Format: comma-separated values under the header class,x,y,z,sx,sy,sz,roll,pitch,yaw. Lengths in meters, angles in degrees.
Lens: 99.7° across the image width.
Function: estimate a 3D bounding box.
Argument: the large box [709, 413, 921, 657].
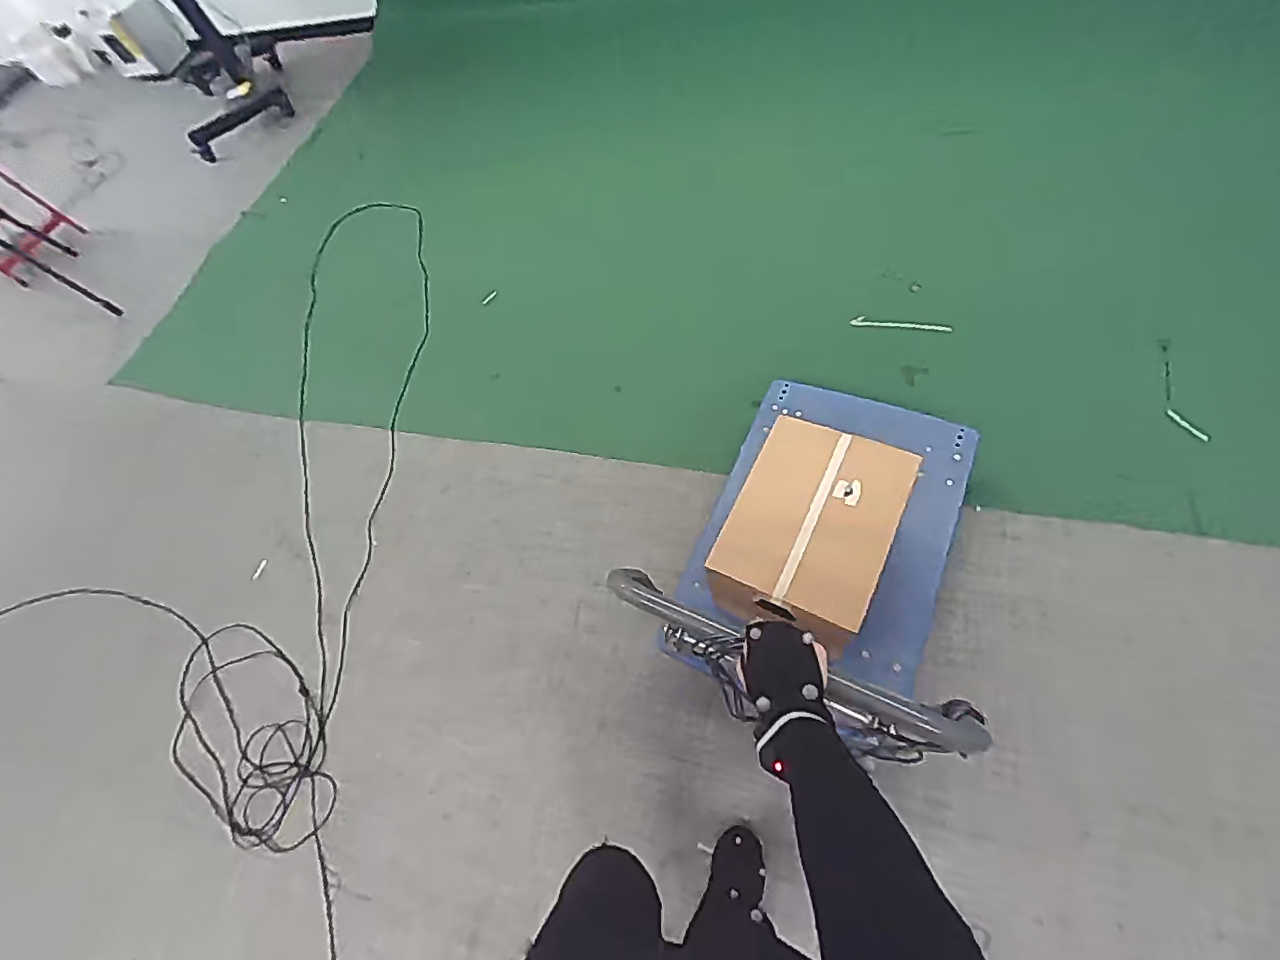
class,x,y,z,sx,sy,sz,roll,pitch,yaw
large box,0.387,0.129,1.229,0.320,0.320,0.408,22,69,21
